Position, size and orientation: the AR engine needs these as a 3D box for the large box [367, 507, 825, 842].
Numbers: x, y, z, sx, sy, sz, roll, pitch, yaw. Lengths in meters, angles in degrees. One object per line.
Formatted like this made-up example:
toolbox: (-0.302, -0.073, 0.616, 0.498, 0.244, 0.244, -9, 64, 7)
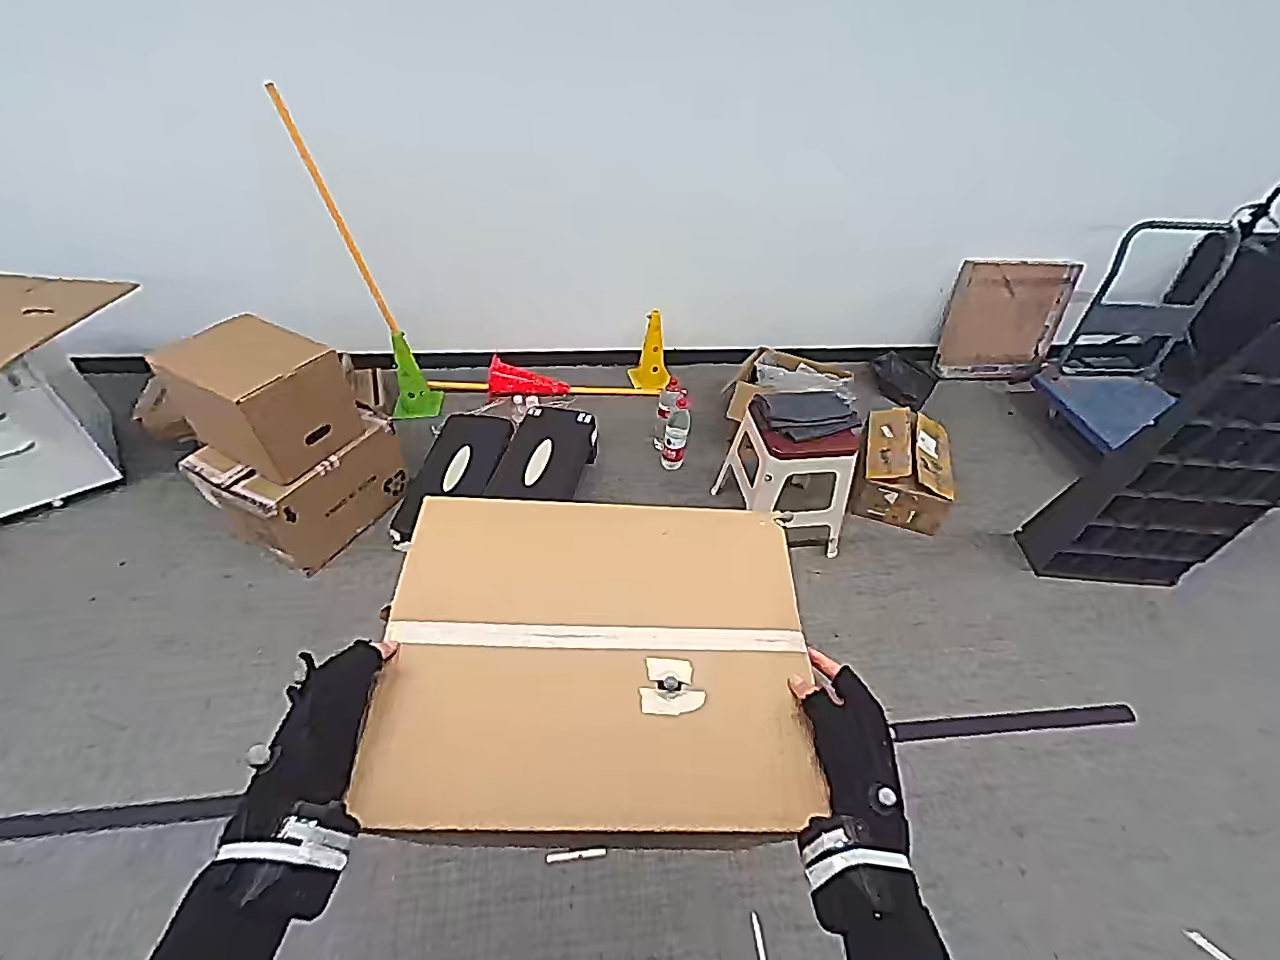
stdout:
large box: (-0.047, 0.251, 0.668, 0.408, 0.320, 0.320, 3, 54, -4)
